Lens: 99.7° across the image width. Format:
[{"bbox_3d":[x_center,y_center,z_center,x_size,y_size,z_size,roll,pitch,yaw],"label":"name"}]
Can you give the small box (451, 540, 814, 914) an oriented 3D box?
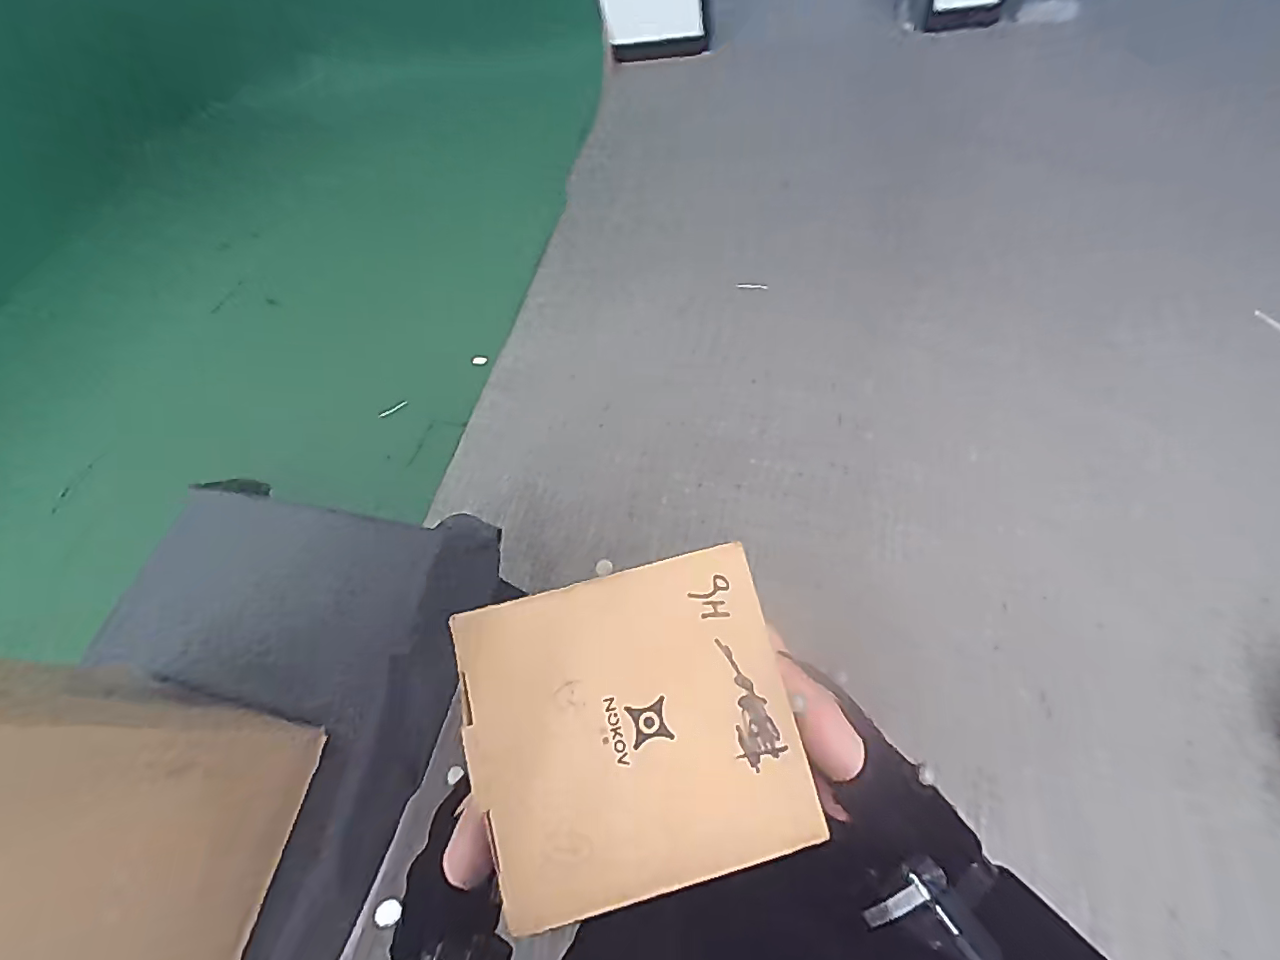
[{"bbox_3d":[-0.007,0.146,0.376,0.179,0.176,0.168,-13,80,-2],"label":"small box"}]
